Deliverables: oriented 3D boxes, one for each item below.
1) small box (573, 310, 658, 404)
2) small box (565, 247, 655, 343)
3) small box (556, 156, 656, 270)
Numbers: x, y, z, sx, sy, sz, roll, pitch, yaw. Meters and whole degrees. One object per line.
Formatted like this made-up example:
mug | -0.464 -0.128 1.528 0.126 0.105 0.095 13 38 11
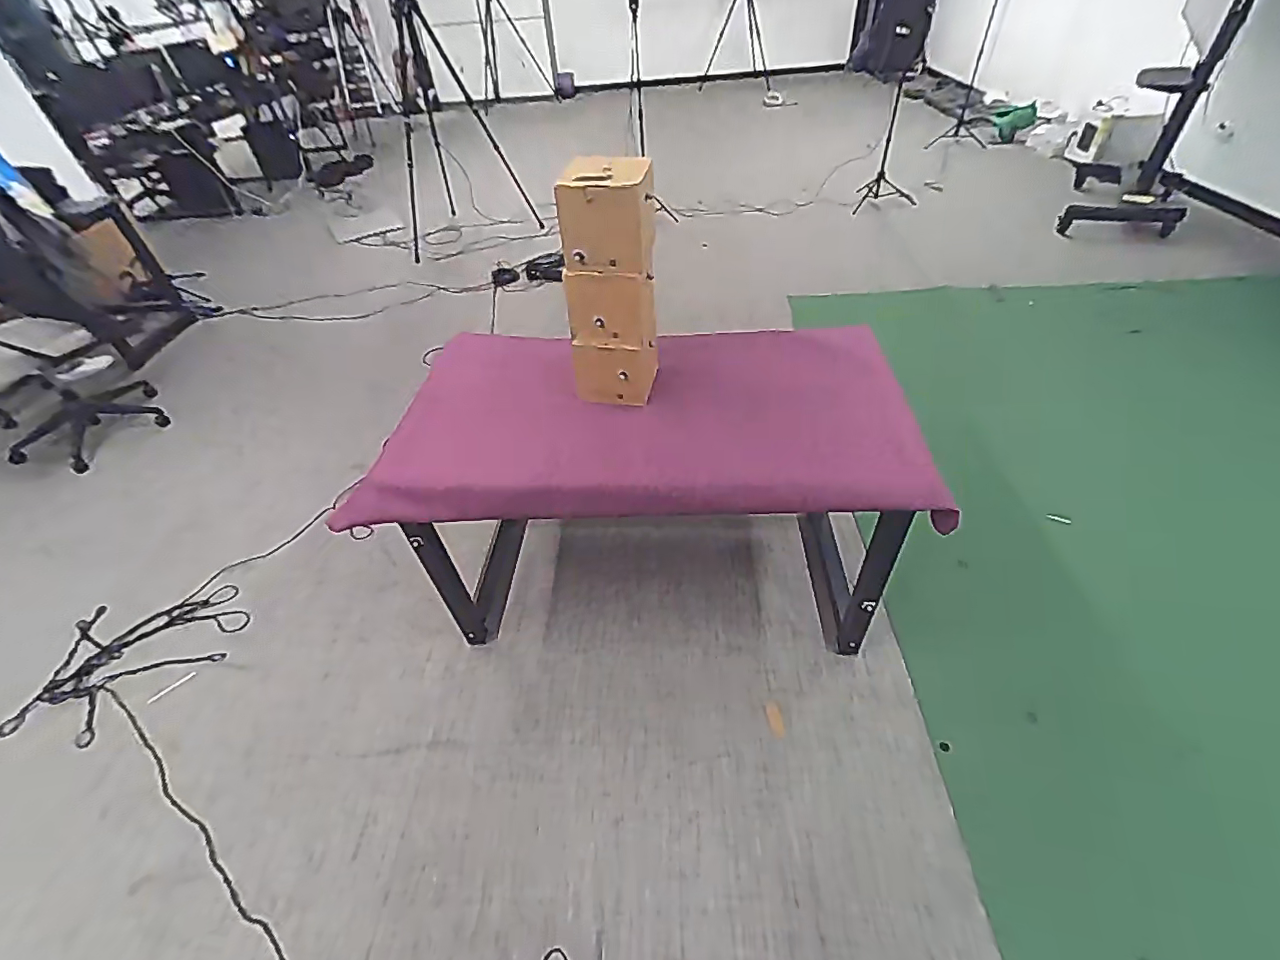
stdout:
small box | -0.051 -0.304 1.329 0.168 0.176 0.179 7 45 11
small box | -0.059 -0.427 1.223 0.168 0.176 0.179 5 46 9
small box | -0.059 -0.547 1.112 0.168 0.176 0.179 6 46 9
